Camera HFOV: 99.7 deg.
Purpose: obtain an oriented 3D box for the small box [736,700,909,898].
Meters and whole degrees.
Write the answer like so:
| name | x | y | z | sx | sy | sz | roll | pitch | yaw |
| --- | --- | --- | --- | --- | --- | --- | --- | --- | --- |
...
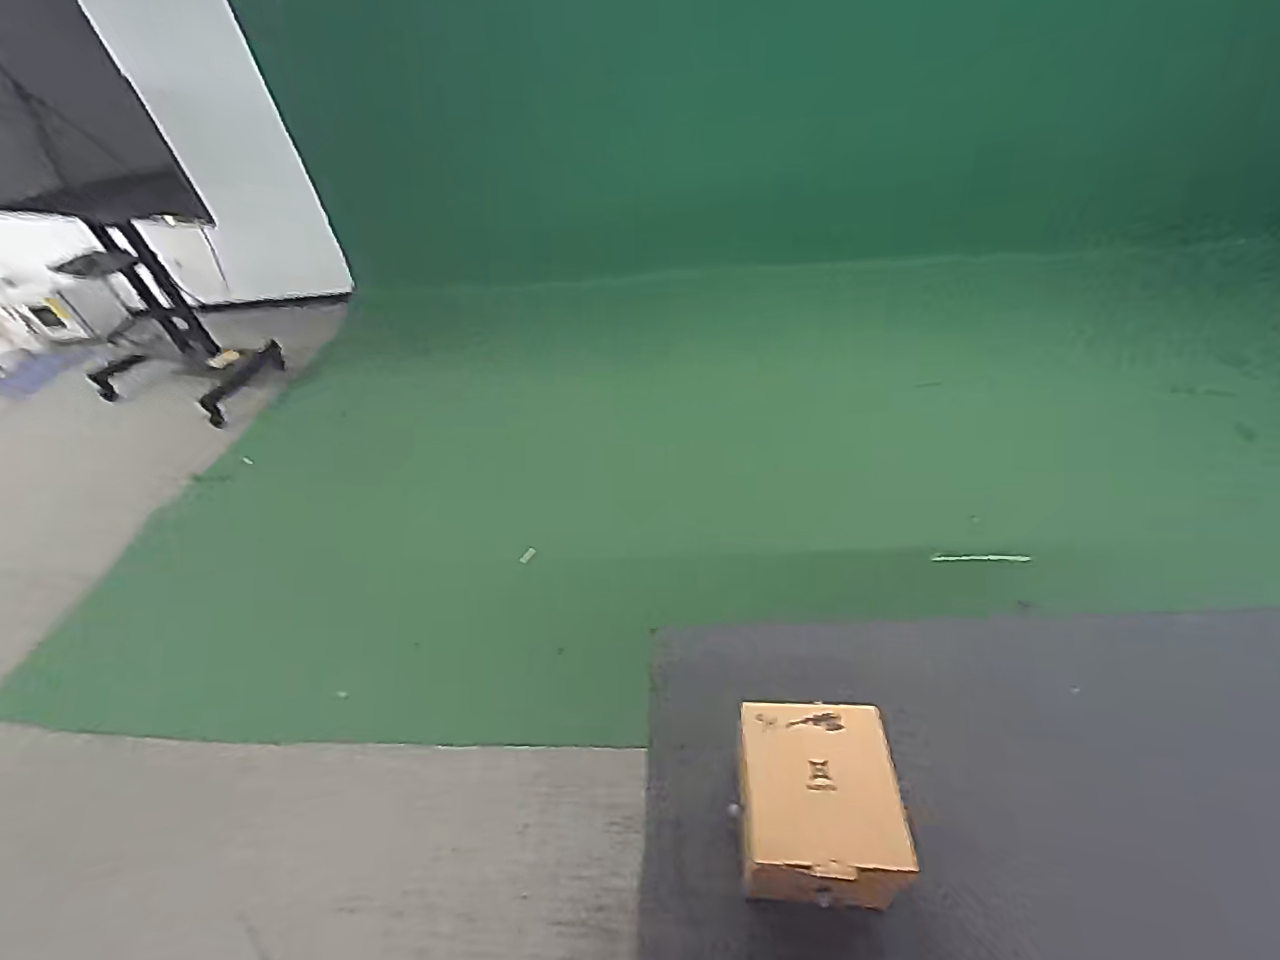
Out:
| name | x | y | z | sx | sy | sz | roll | pitch | yaw |
| --- | --- | --- | --- | --- | --- | --- | --- | --- | --- |
| small box | 0.209 | 0.397 | 0.673 | 0.168 | 0.176 | 0.179 | 0 | 44 | 6 |
